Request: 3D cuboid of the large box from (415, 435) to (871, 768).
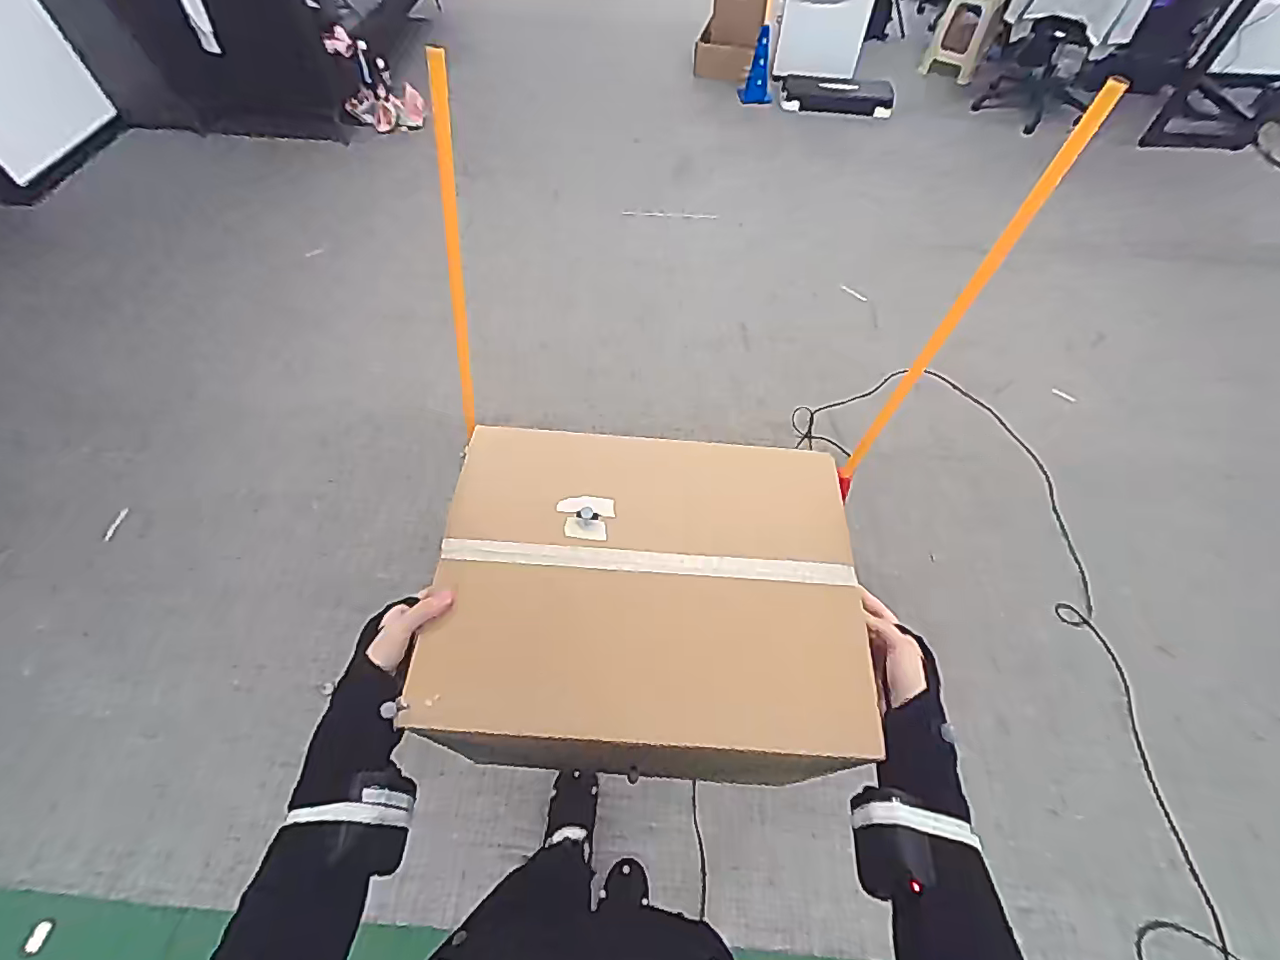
[{"bbox_3d":[0.007,0.167,0.669,0.408,0.320,0.320,4,57,0],"label":"large box"}]
